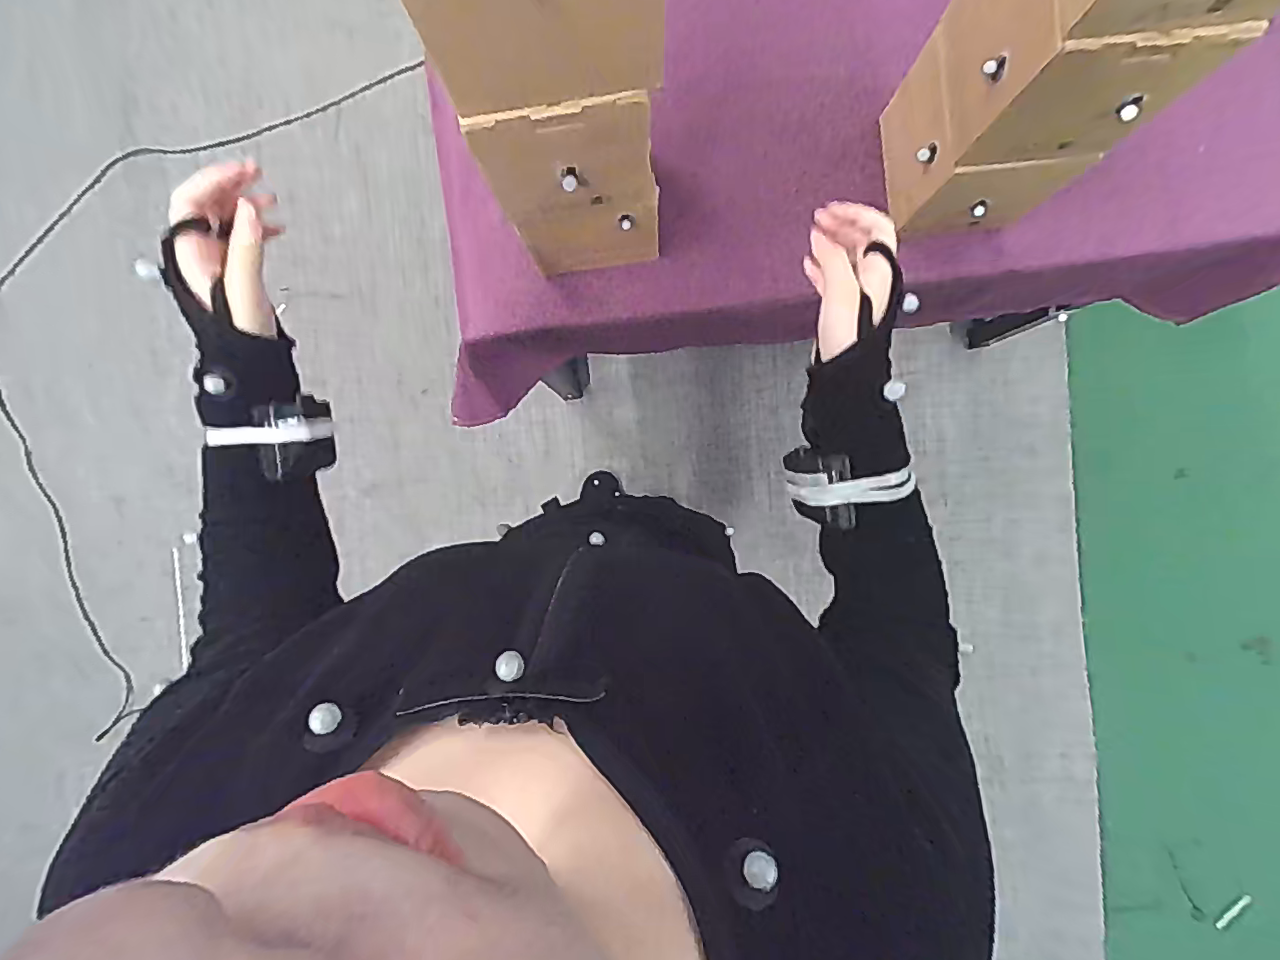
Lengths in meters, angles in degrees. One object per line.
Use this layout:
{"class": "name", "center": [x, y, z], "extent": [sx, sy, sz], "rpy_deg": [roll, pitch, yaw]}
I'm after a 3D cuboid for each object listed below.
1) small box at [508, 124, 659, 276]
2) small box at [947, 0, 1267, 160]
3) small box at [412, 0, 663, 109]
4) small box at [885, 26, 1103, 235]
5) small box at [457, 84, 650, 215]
{"class": "small box", "center": [-0.071, -0.384, 0.704], "extent": [0.179, 0.176, 0.168], "rpy_deg": [-8, 89, 1]}
{"class": "small box", "center": [0.423, -0.436, 0.520], "extent": [0.168, 0.176, 0.179], "rpy_deg": [-3, 89, 2]}
{"class": "small box", "center": [-0.078, -0.397, 0.375], "extent": [0.179, 0.176, 0.168], "rpy_deg": [-8, 88, 1]}
{"class": "small box", "center": [0.429, -0.430, 0.683], "extent": [0.168, 0.176, 0.179], "rpy_deg": [-5, 89, 2]}
{"class": "small box", "center": [-0.081, -0.390, 0.540], "extent": [0.168, 0.176, 0.179], "rpy_deg": [-9, 89, 1]}
